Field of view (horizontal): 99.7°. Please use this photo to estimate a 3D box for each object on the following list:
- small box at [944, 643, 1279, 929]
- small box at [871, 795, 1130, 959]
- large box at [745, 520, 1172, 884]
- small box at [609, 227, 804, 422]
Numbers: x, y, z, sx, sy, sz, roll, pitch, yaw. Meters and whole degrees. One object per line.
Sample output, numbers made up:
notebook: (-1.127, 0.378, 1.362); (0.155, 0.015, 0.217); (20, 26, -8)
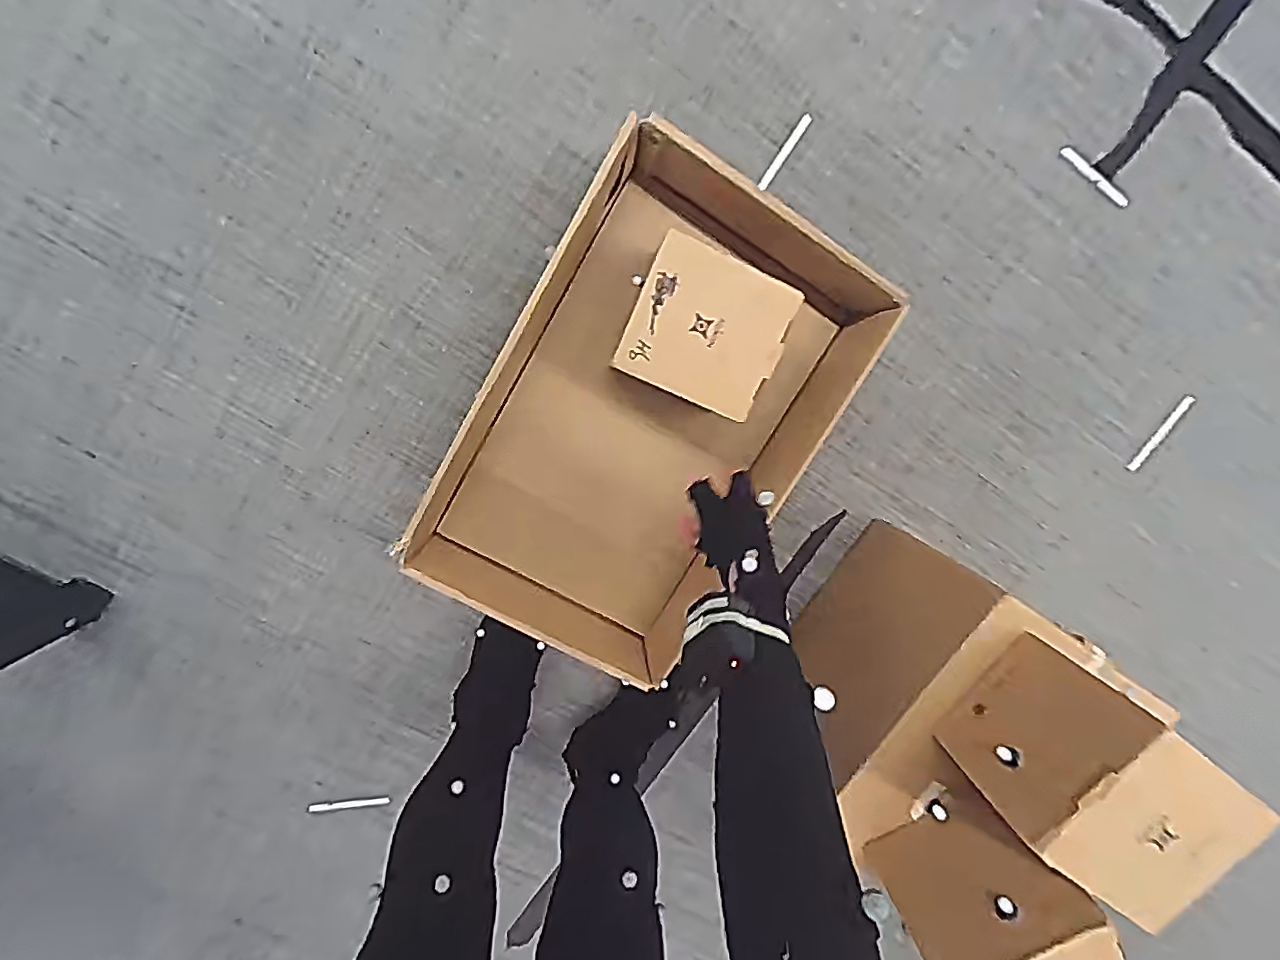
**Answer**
small box: (0.471, 0.301, 0.568); (0.179, 0.176, 0.168); (35, 100, -11)
small box: (0.399, 0.501, 0.605); (0.179, 0.176, 0.168); (-28, 103, 3)
large box: (0.425, 0.334, 0.821); (0.320, 0.320, 0.408); (32, 99, -9)
small box: (0.071, -0.192, 0.693); (0.179, 0.176, 0.168); (23, 100, -10)
